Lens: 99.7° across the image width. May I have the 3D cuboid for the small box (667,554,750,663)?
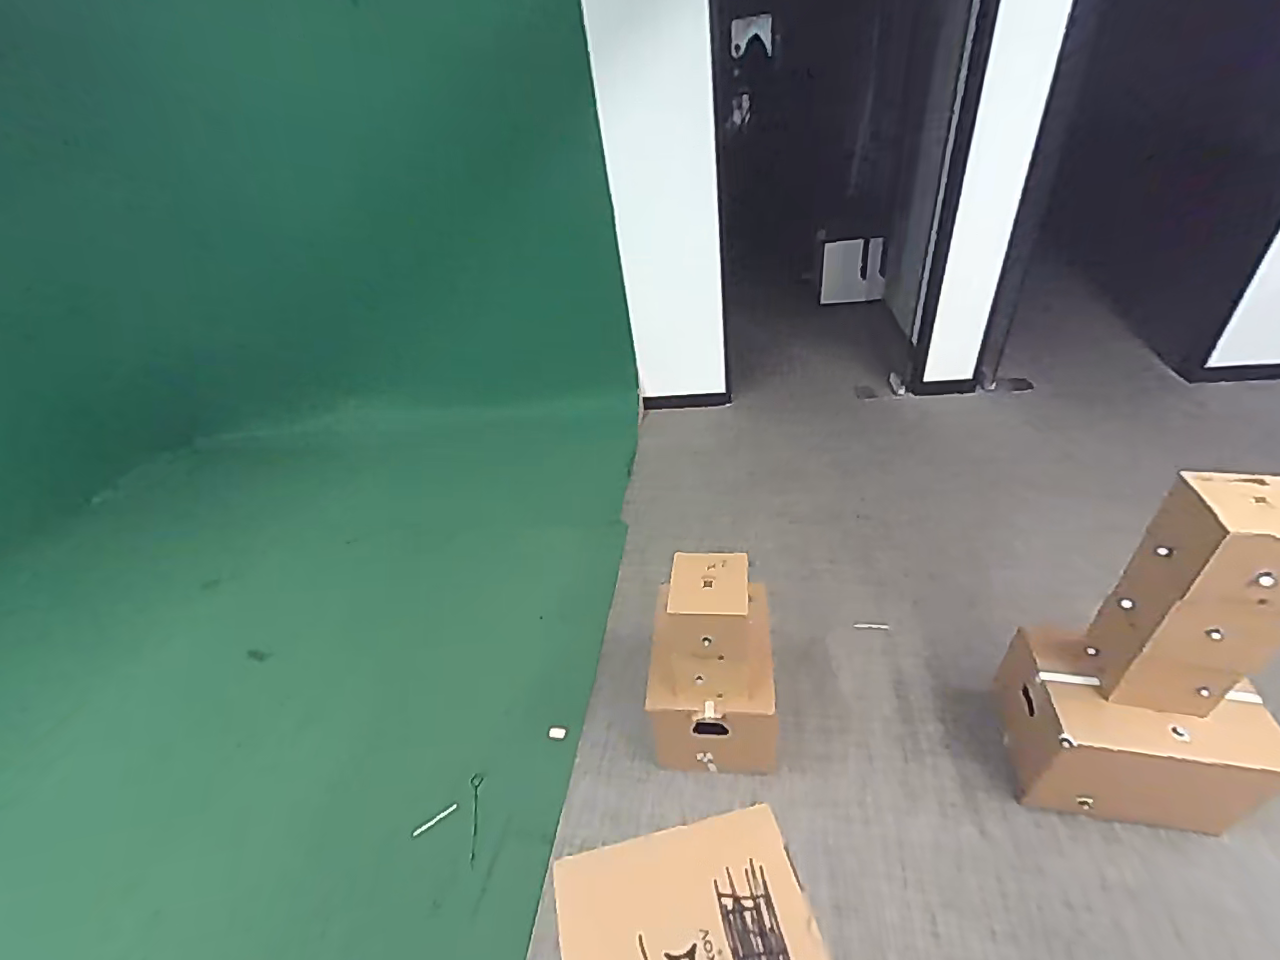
[{"bbox_3d":[0.159,0.285,1.201,0.168,0.176,0.179,-1,37,11],"label":"small box"}]

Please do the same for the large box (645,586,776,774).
[{"bbox_3d":[0.205,0.553,1.520,0.320,0.320,0.408,-2,37,10],"label":"large box"}]

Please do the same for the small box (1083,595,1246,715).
[{"bbox_3d":[1.099,0.373,1.153,0.179,0.176,0.168,4,37,18],"label":"small box"}]

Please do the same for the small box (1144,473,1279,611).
[{"bbox_3d":[1.058,0.110,0.961,0.168,0.176,0.179,5,38,17],"label":"small box"}]

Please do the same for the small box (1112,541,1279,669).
[{"bbox_3d":[1.080,0.243,1.053,0.179,0.176,0.168,5,37,19],"label":"small box"}]
